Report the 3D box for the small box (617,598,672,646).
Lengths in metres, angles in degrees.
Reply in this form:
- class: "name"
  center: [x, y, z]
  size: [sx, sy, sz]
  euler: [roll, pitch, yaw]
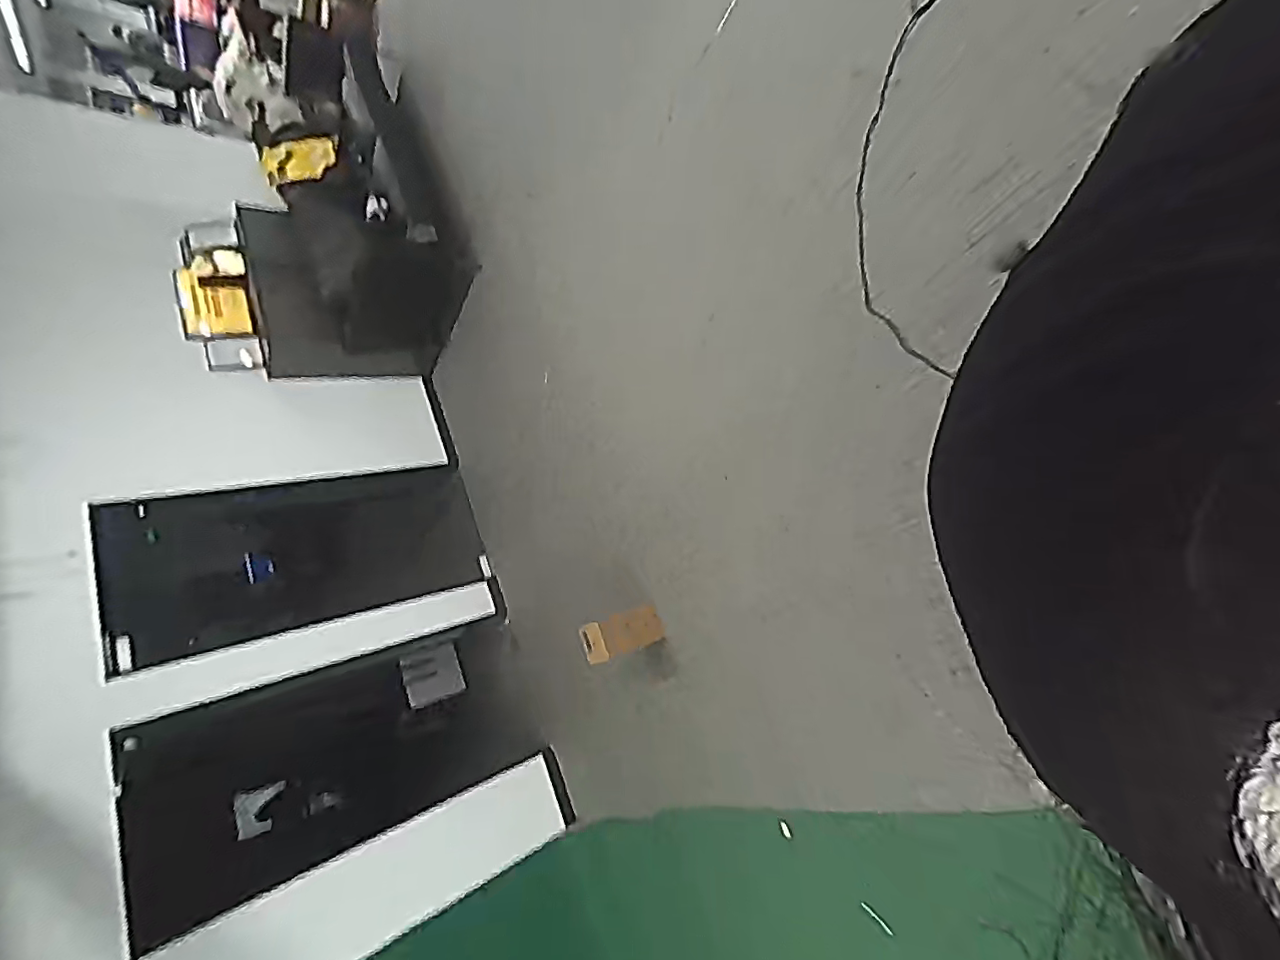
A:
- class: "small box"
  center: [0.028, 0.660, 2.515]
  size: [0.179, 0.176, 0.168]
  euler: [-32, 73, 50]
